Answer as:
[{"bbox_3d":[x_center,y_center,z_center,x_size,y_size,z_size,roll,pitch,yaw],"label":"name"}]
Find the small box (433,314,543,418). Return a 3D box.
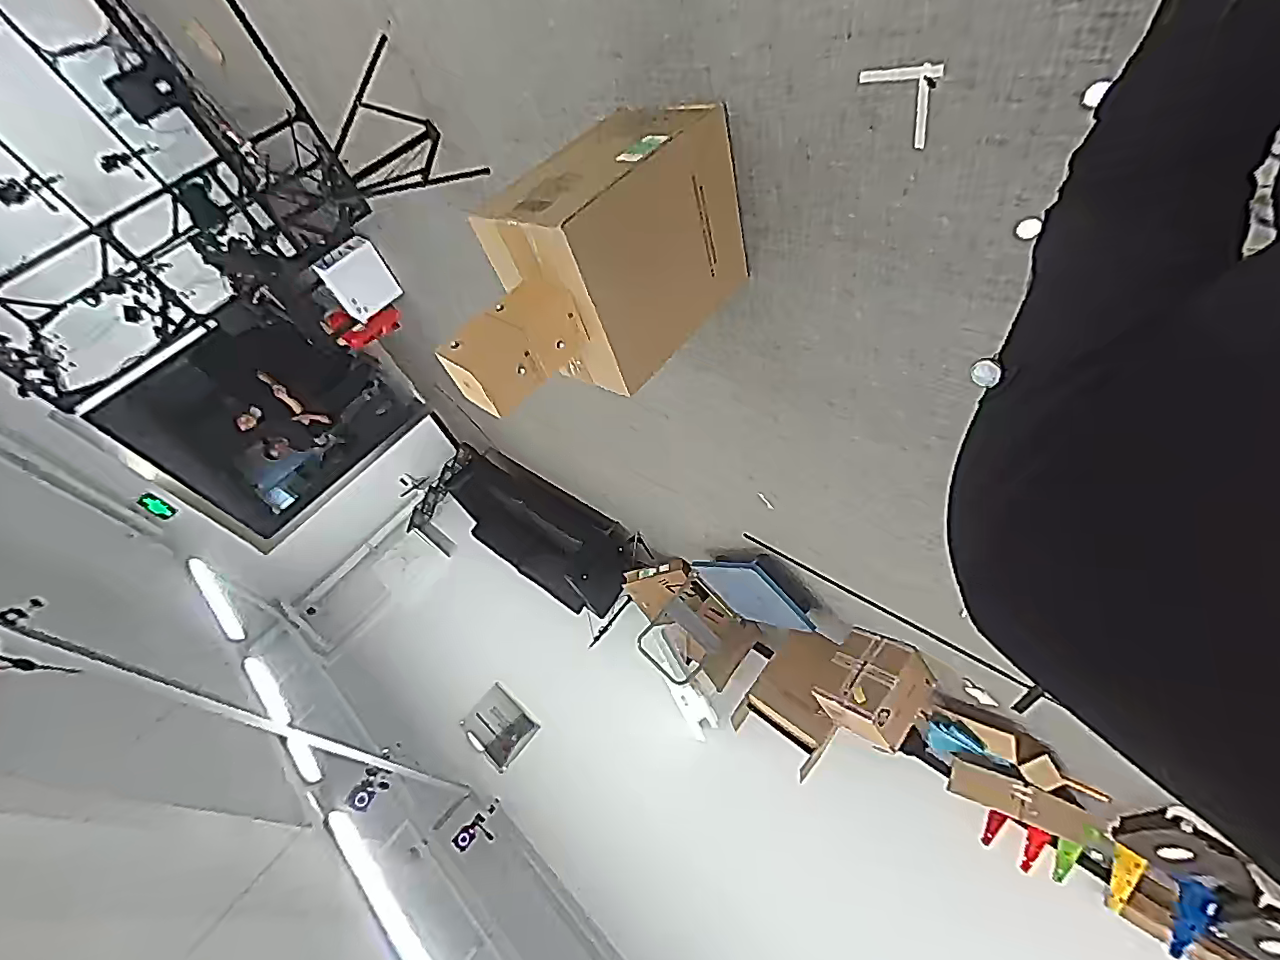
[{"bbox_3d":[-0.379,-0.295,1.373,0.179,0.176,0.168,30,158,32],"label":"small box"}]

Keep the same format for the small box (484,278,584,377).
[{"bbox_3d":[-0.268,-0.406,1.425,0.179,0.176,0.168,29,157,34],"label":"small box"}]
